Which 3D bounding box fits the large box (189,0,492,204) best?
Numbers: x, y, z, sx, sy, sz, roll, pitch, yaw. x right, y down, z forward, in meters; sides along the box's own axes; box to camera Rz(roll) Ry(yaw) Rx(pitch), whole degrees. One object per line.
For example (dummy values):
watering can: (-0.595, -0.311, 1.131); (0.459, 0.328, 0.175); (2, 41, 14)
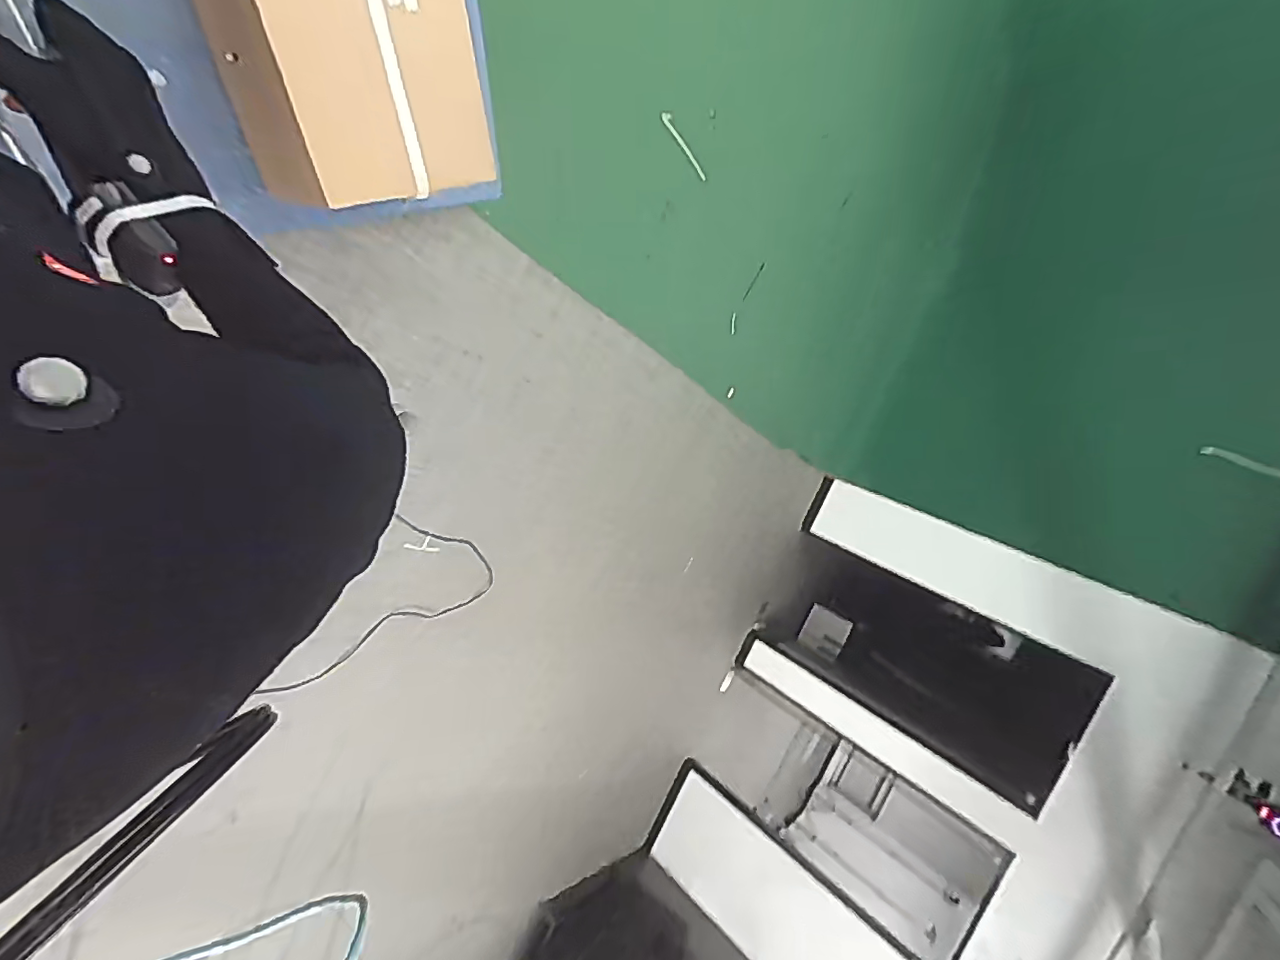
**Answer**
large box: (-0.502, -0.714, 0.899); (0.320, 0.320, 0.408); (-34, 134, -34)
